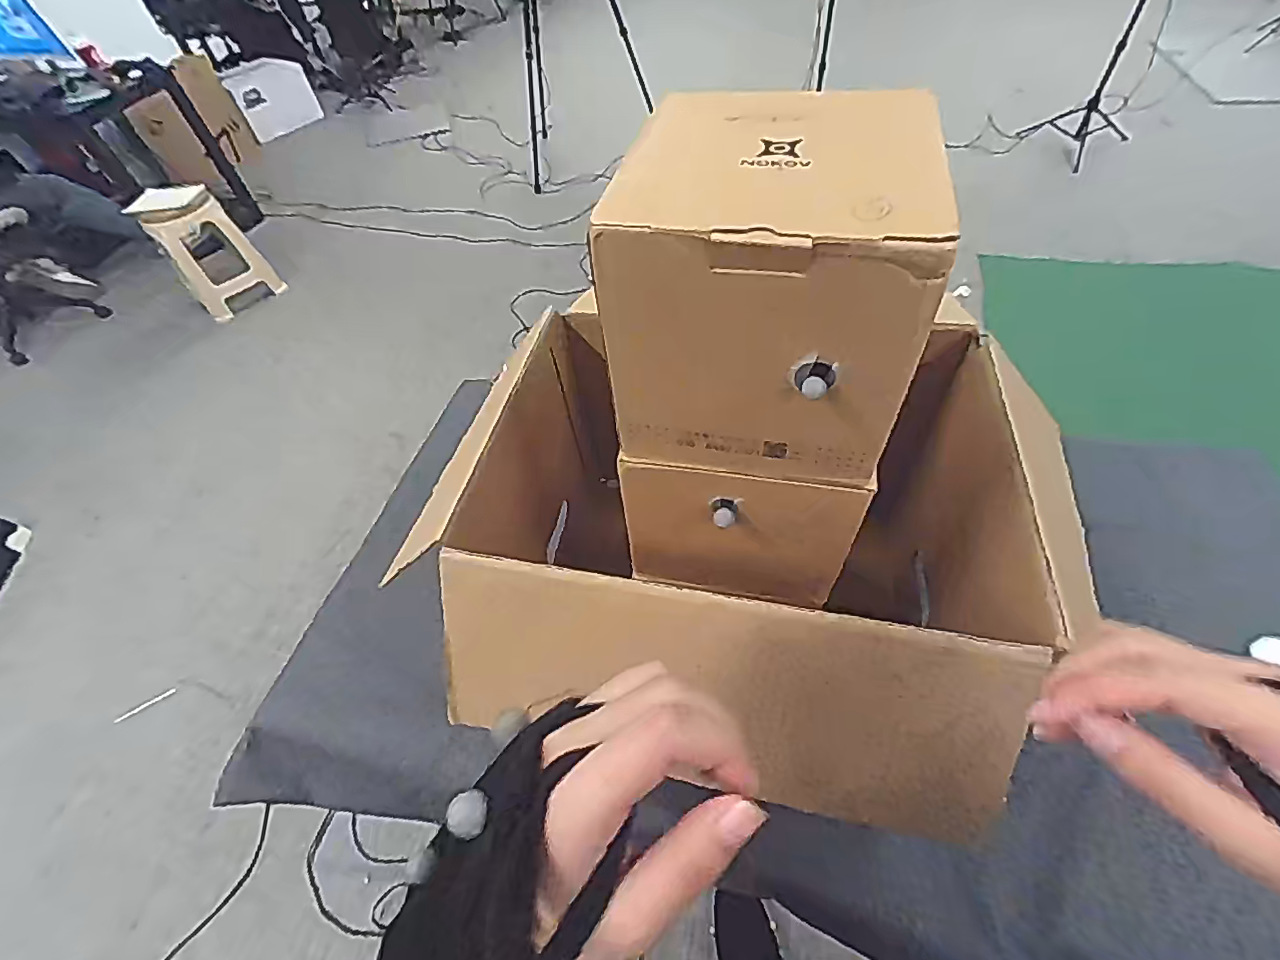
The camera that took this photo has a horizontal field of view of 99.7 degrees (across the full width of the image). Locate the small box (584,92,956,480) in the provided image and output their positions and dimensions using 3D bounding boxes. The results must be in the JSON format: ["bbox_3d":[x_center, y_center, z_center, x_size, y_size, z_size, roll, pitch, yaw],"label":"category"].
[{"bbox_3d":[0.078,-0.122,0.347,0.168,0.176,0.179,9,52,12],"label":"small box"}]

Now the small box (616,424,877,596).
[{"bbox_3d":[0.091,-0.016,0.470,0.179,0.176,0.168,7,53,12],"label":"small box"}]
